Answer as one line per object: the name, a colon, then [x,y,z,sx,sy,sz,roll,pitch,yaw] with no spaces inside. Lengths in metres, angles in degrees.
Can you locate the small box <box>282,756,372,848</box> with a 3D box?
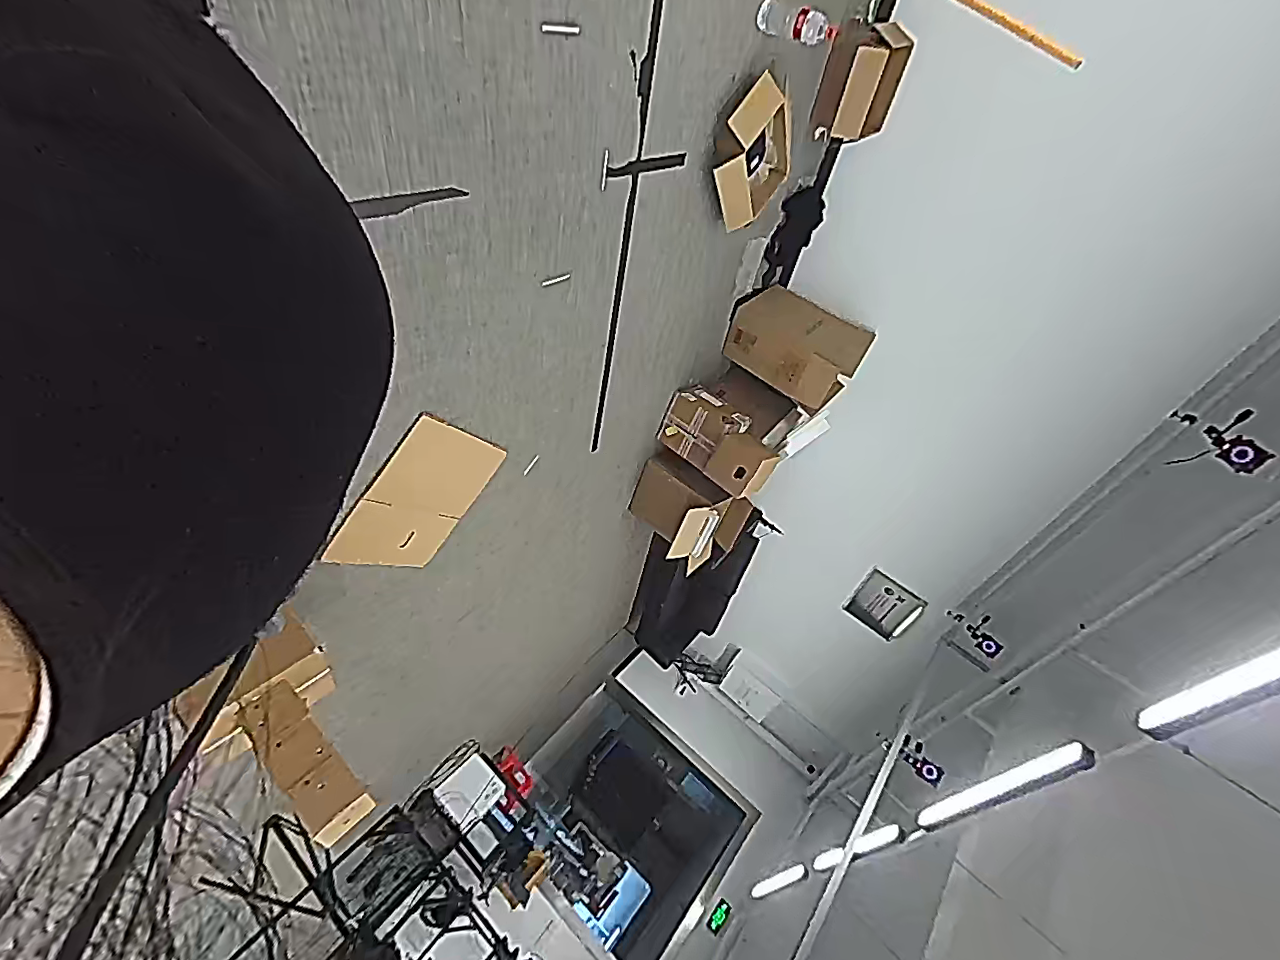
small box: [-0.973,1.002,1.689,0.168,0.176,0.179,-37,154,-37]

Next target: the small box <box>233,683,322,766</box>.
small box: [-1.214,0.812,1.810,0.168,0.176,0.179,-37,155,-34]
